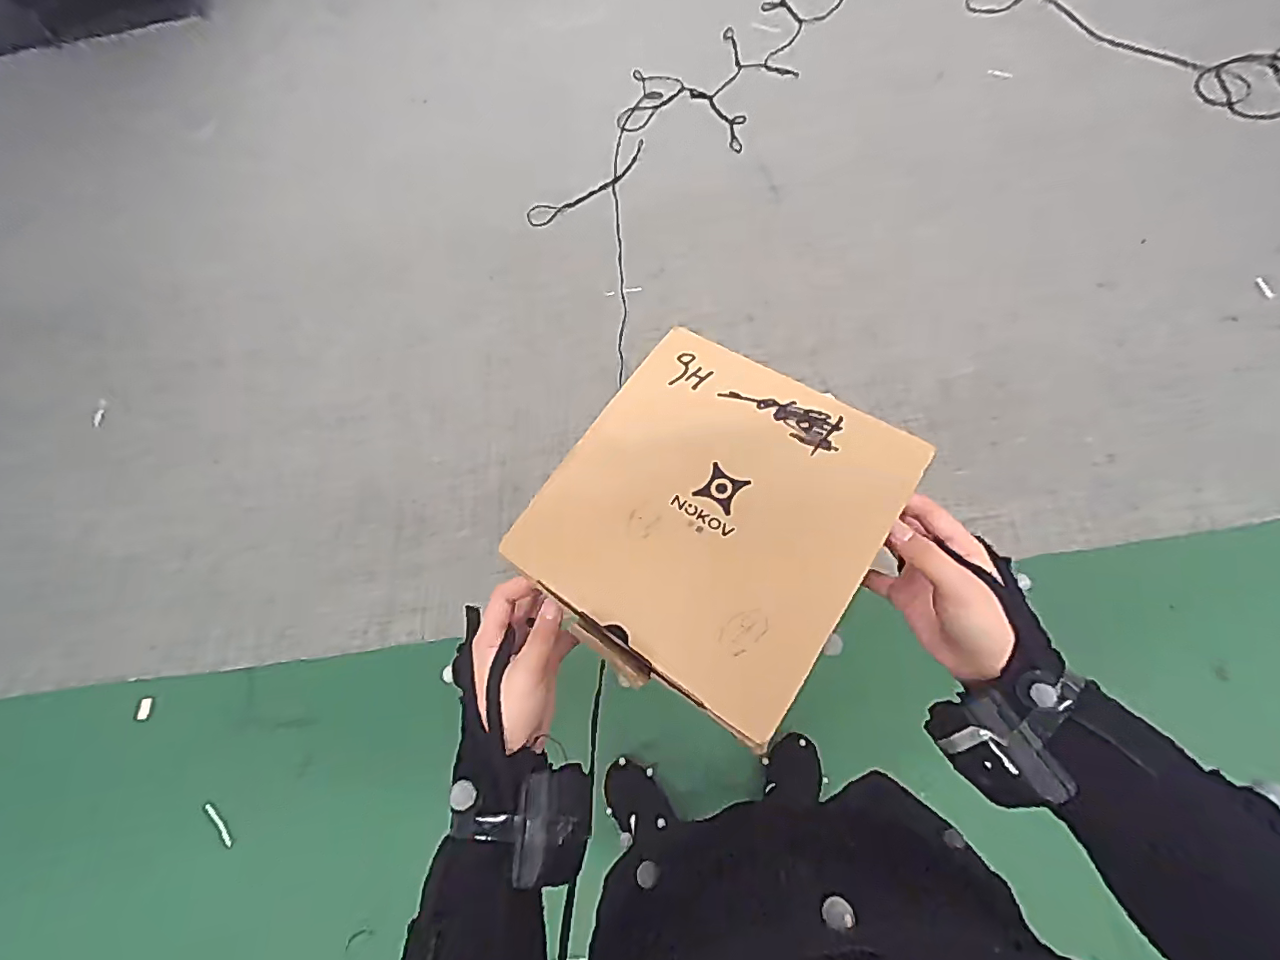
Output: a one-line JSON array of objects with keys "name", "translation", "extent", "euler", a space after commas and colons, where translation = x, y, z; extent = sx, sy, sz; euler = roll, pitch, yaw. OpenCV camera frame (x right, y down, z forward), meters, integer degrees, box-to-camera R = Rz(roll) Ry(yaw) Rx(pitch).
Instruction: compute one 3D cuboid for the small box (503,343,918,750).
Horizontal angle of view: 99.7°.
[{"name": "small box", "translation": [0.048, 0.050, 0.365], "extent": [0.168, 0.176, 0.179], "euler": [32, 75, 20]}]
